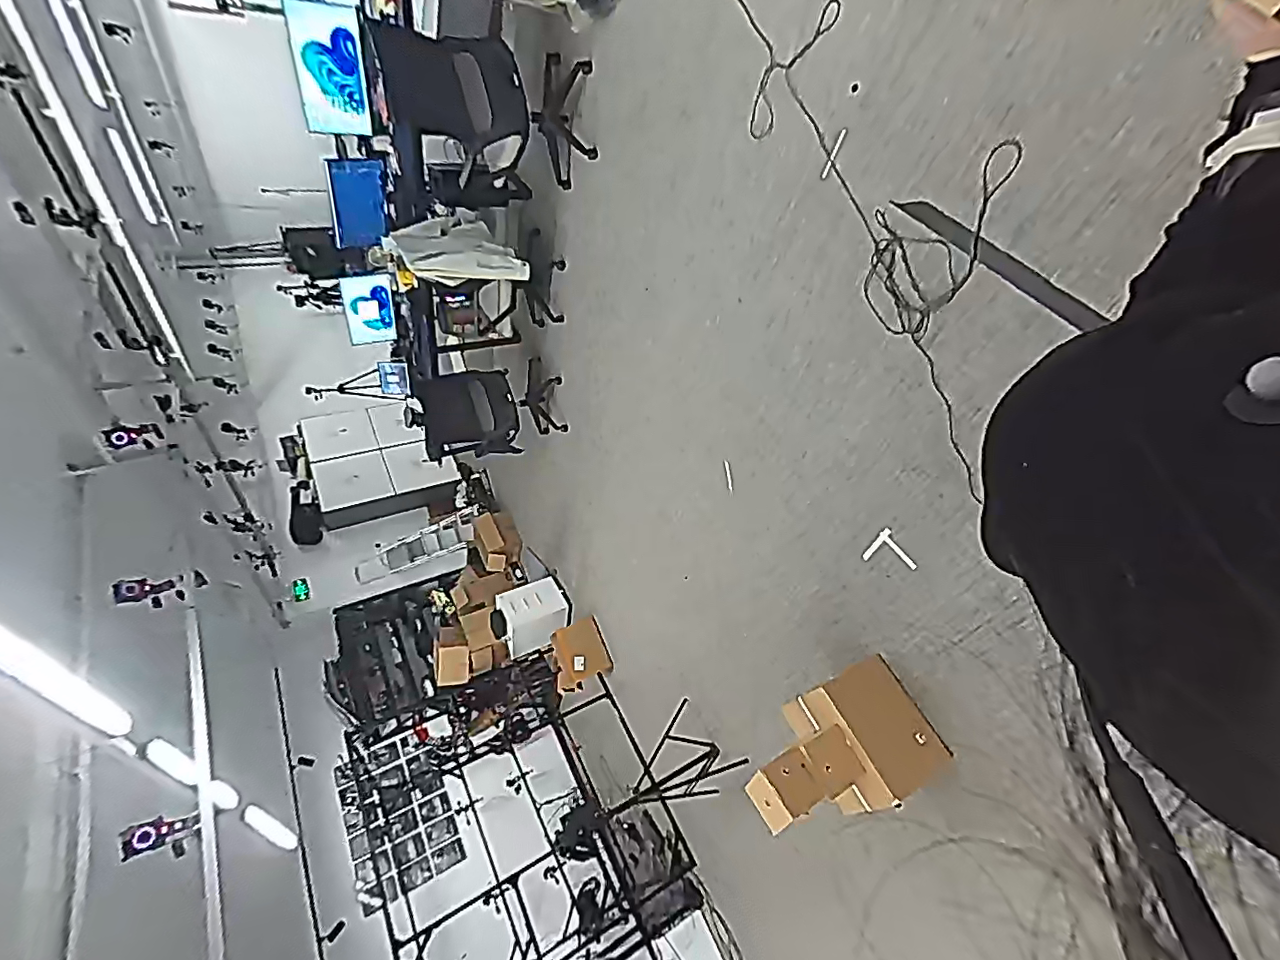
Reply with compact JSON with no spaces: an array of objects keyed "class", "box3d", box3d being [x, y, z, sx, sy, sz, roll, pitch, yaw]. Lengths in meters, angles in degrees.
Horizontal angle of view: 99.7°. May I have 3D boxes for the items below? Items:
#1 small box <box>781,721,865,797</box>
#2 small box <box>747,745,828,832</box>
[{"class":"small box","box3d":[0.625,0.954,1.846,0.179,0.176,0.168,61,149,23]},{"class":"small box","box3d":[0.486,1.008,1.778,0.168,0.176,0.179,52,146,36]}]
